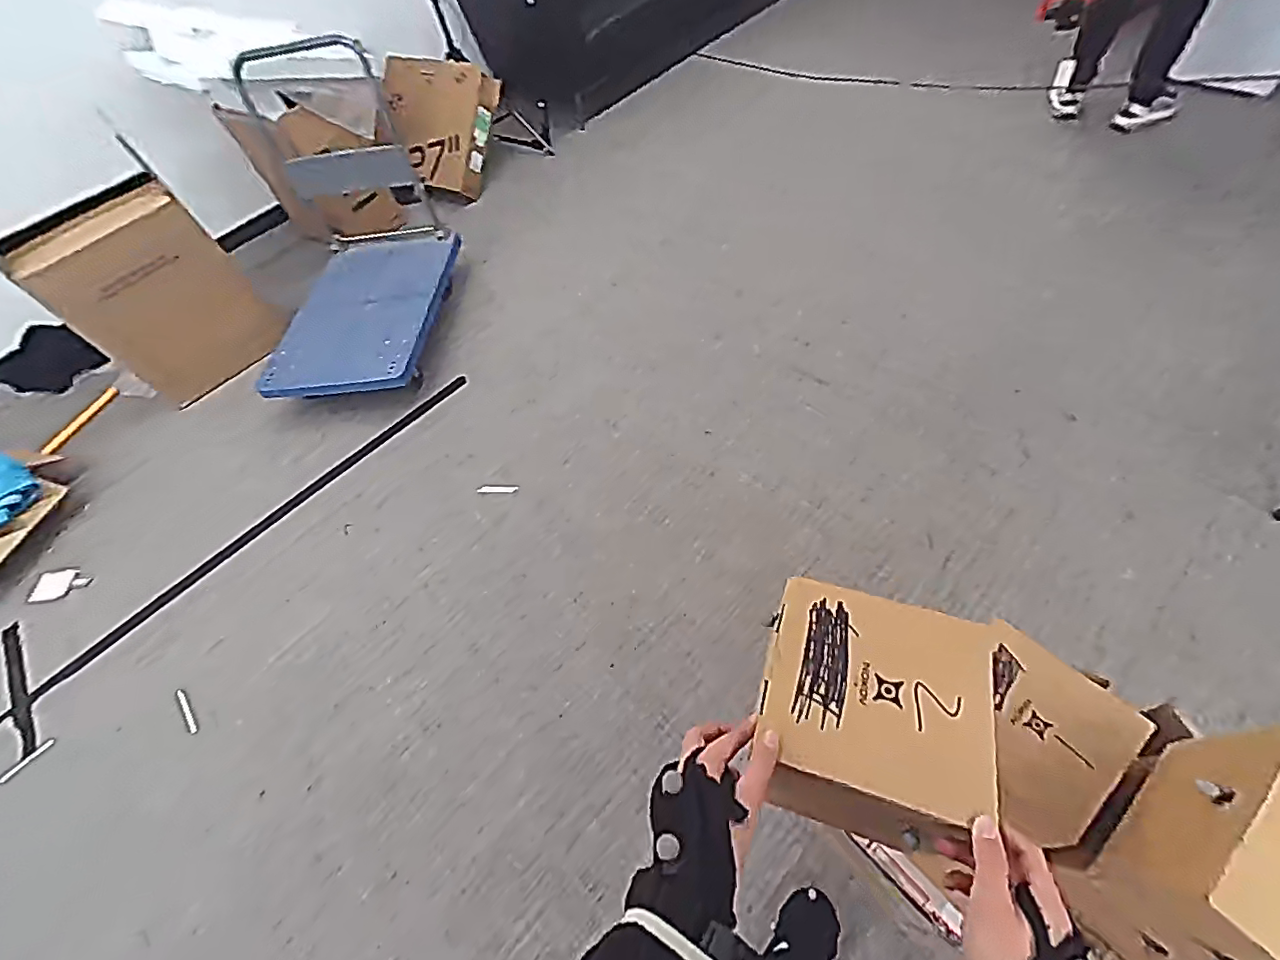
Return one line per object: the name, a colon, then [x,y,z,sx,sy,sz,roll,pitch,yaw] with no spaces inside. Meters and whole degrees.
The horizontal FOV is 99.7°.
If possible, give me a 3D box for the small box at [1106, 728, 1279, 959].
small box: [0.532,0.335,0.433,0.179,0.176,0.168,-41,59,-15]
